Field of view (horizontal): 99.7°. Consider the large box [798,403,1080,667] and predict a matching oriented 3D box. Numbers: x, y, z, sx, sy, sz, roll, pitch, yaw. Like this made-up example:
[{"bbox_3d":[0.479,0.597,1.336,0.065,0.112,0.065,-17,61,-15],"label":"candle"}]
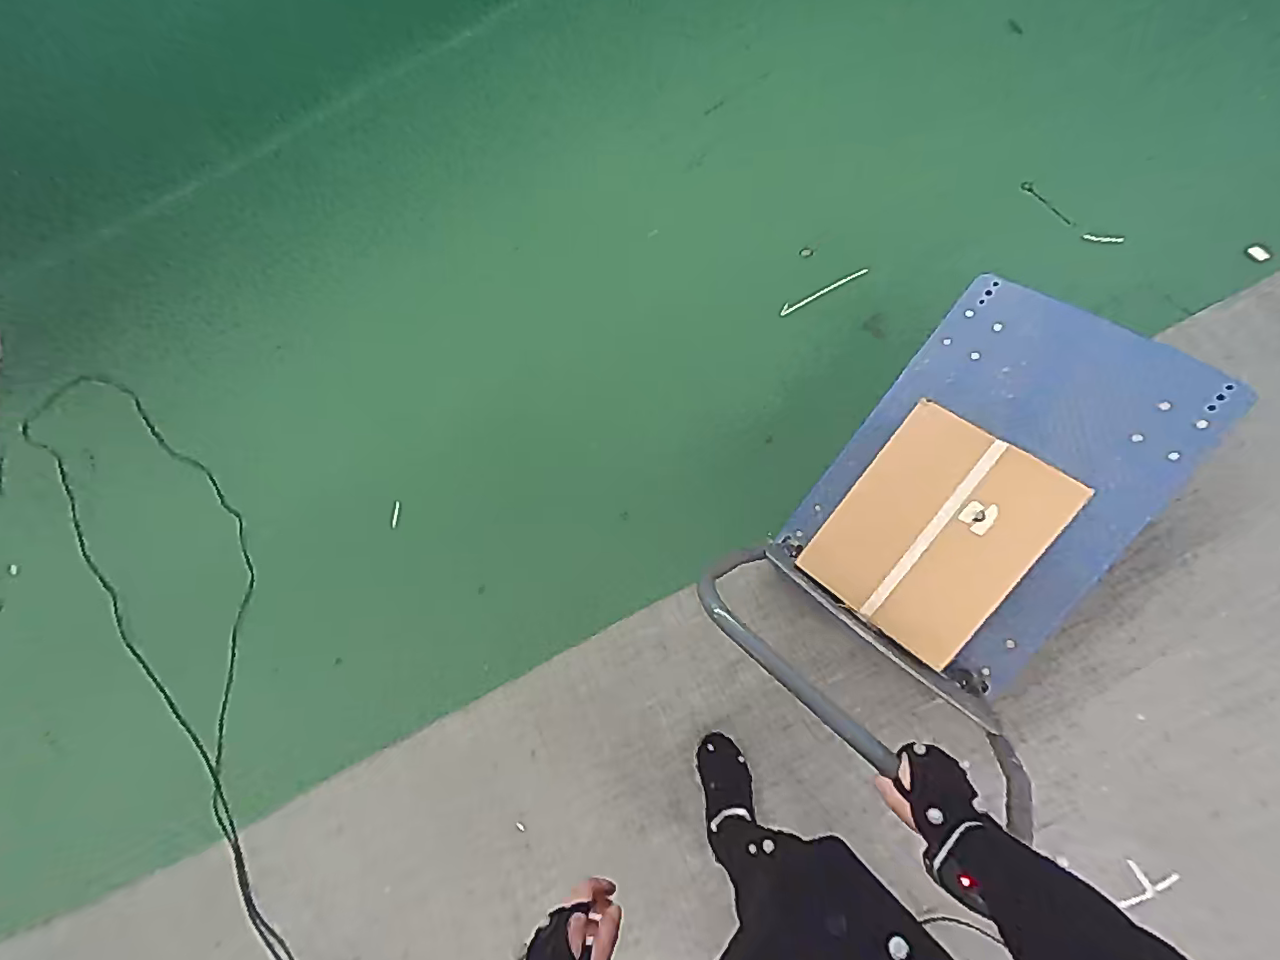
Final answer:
[{"bbox_3d":[0.594,0.118,1.141,0.320,0.320,0.408,39,97,24],"label":"large box"}]
